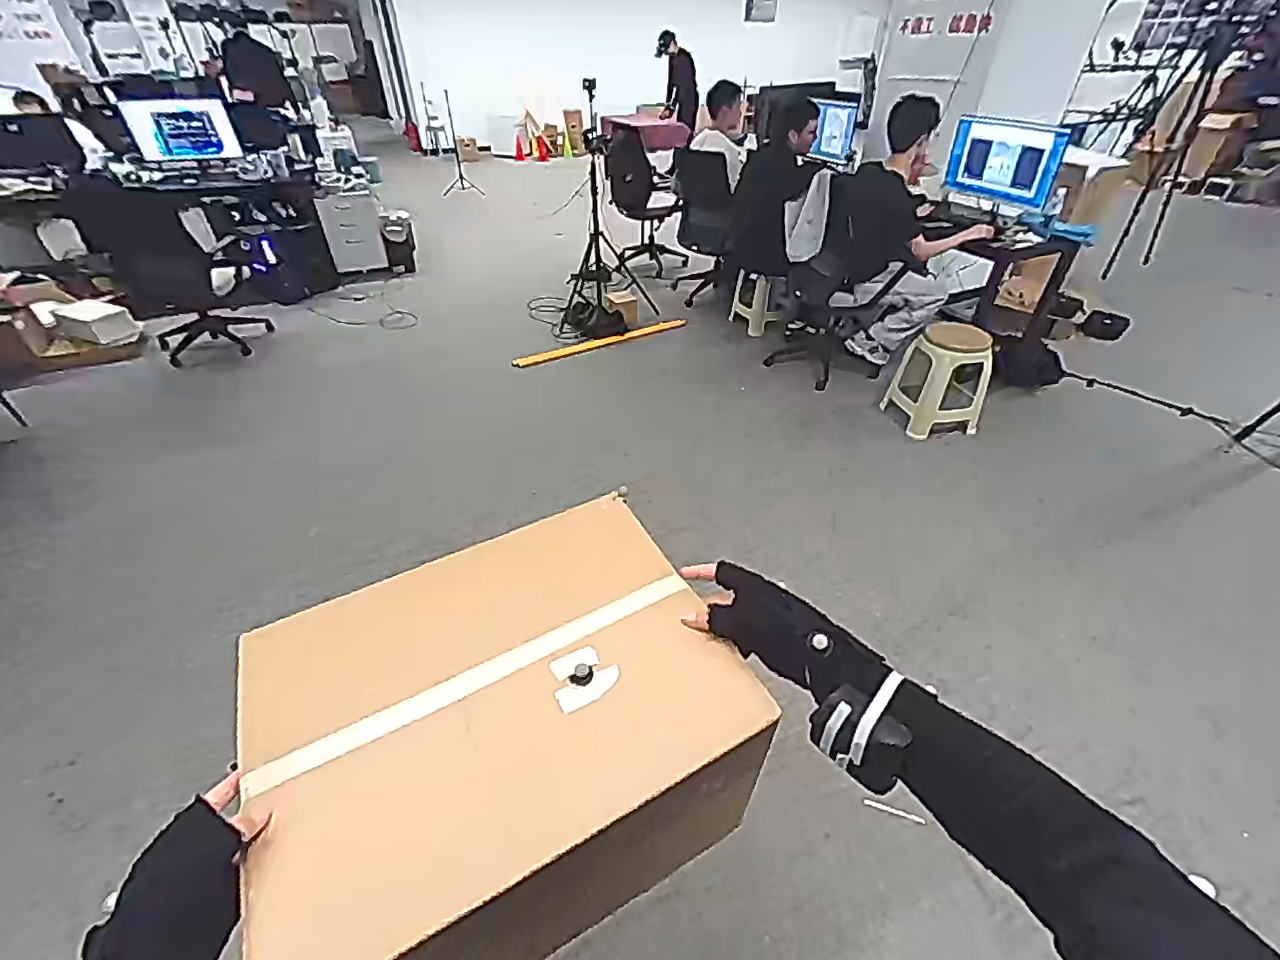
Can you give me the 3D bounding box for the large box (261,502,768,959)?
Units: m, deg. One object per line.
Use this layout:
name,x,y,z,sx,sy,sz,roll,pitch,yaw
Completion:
large box,-0.128,0.290,0.603,0.408,0.320,0.320,-20,46,-21
